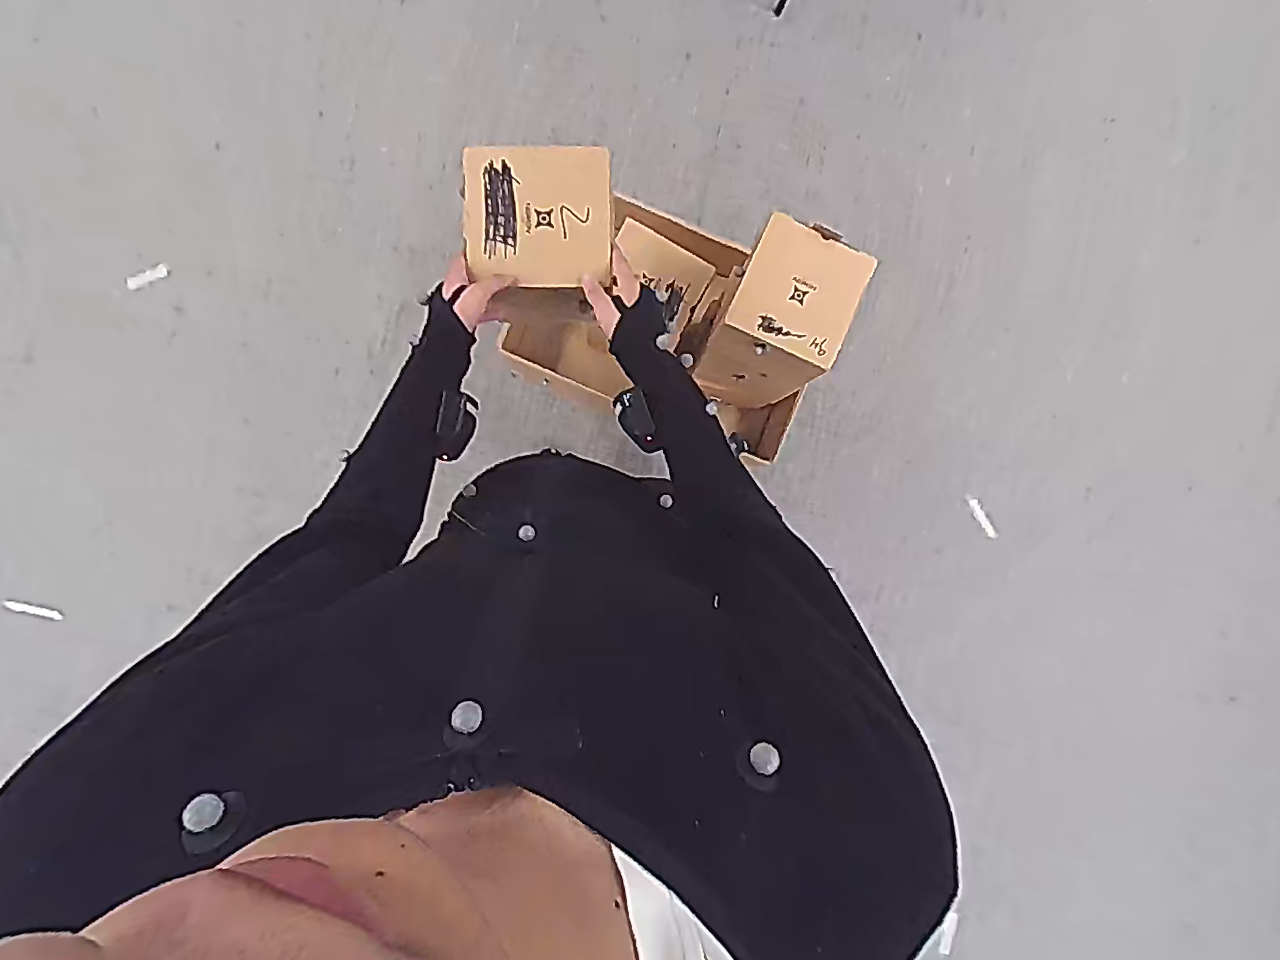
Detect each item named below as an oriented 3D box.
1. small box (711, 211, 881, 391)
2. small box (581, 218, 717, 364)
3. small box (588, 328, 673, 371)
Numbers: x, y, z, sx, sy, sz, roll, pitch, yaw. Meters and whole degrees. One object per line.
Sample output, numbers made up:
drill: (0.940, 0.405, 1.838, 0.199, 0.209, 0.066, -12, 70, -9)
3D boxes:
small box: (0.221, -0.257, 0.819, 0.168, 0.176, 0.179, 25, 88, -1)
small box: (0.011, -0.325, 0.976, 0.179, 0.176, 0.168, 29, 89, -4)
small box: (0.002, -0.342, 1.139, 0.179, 0.176, 0.168, 24, 89, -5)
